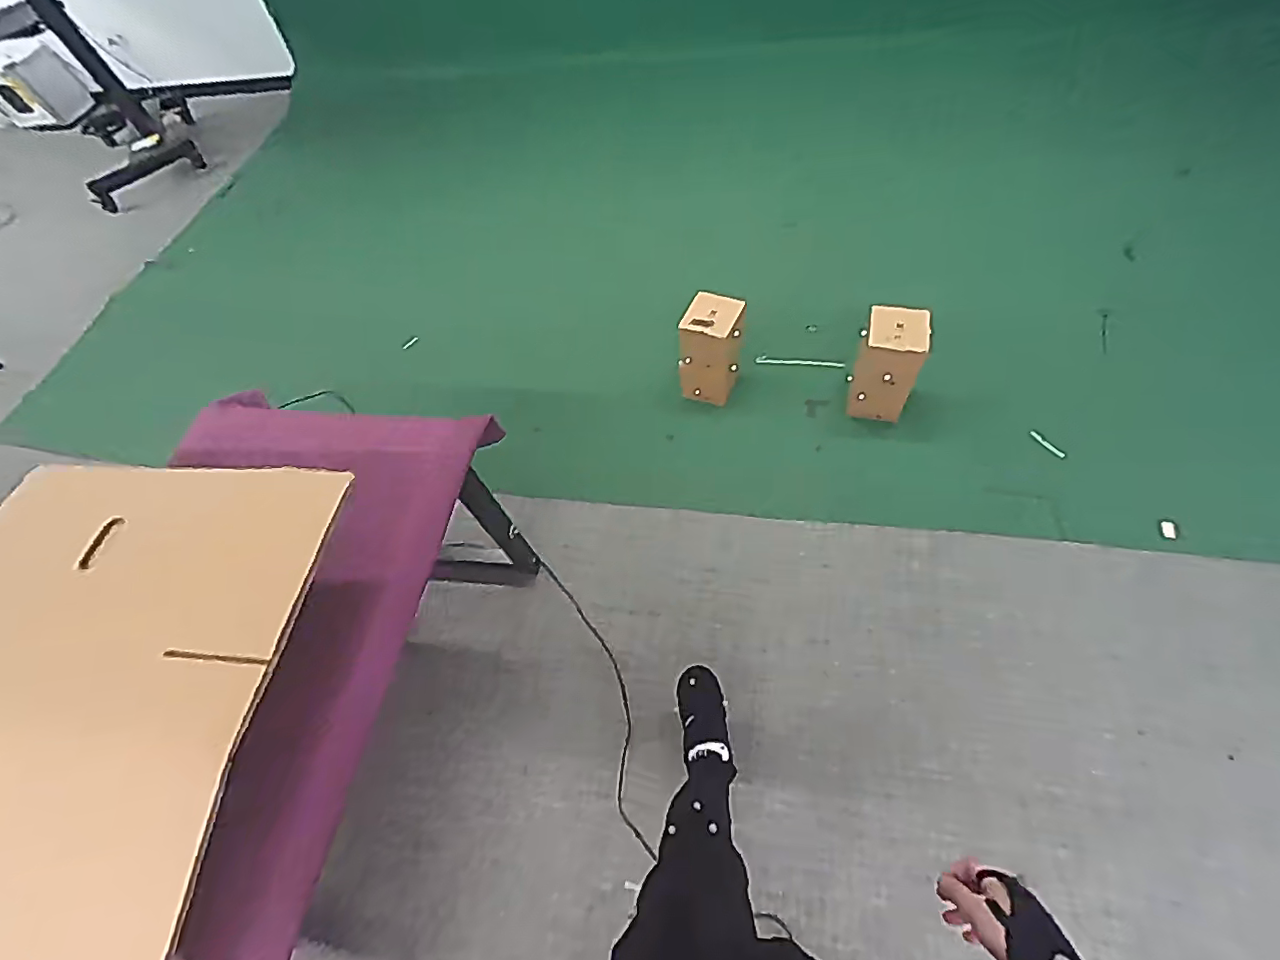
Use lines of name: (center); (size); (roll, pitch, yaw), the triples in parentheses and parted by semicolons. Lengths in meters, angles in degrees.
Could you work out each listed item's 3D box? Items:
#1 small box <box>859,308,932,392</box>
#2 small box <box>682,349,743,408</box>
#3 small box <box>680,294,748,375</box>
small box: (0.782, -0.398, 1.663); (0.168, 0.176, 0.179); (10, 61, 14)
small box: (0.259, -0.389, 1.931); (0.168, 0.176, 0.179); (18, 64, 18)
small box: (0.248, -0.478, 1.793); (0.168, 0.176, 0.179); (21, 64, 19)
